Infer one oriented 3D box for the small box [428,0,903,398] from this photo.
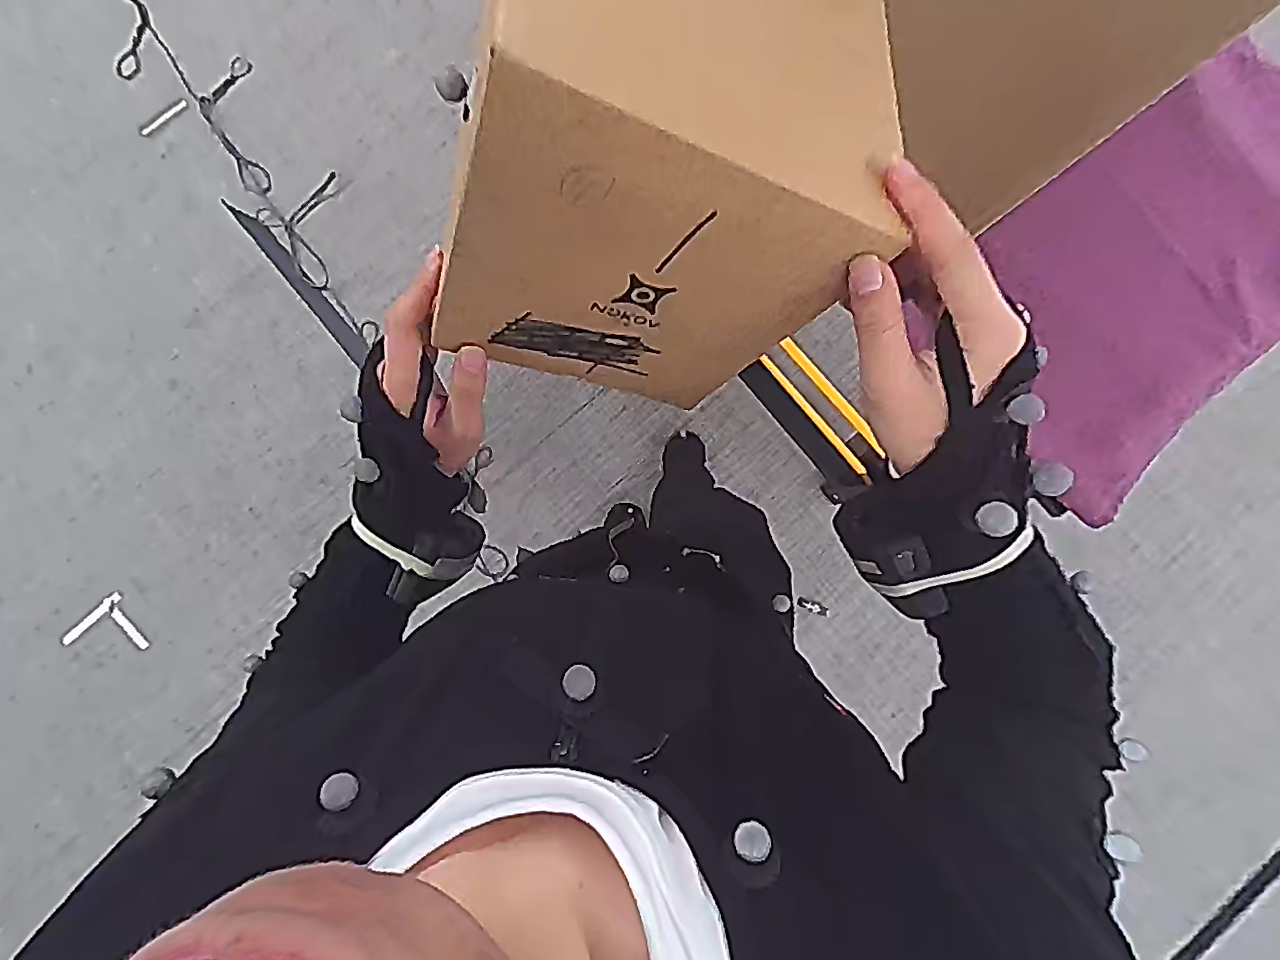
[{"bbox_3d":[-0.001,-0.165,0.273,0.168,0.179,0.176,9,72,-25],"label":"small box"}]
